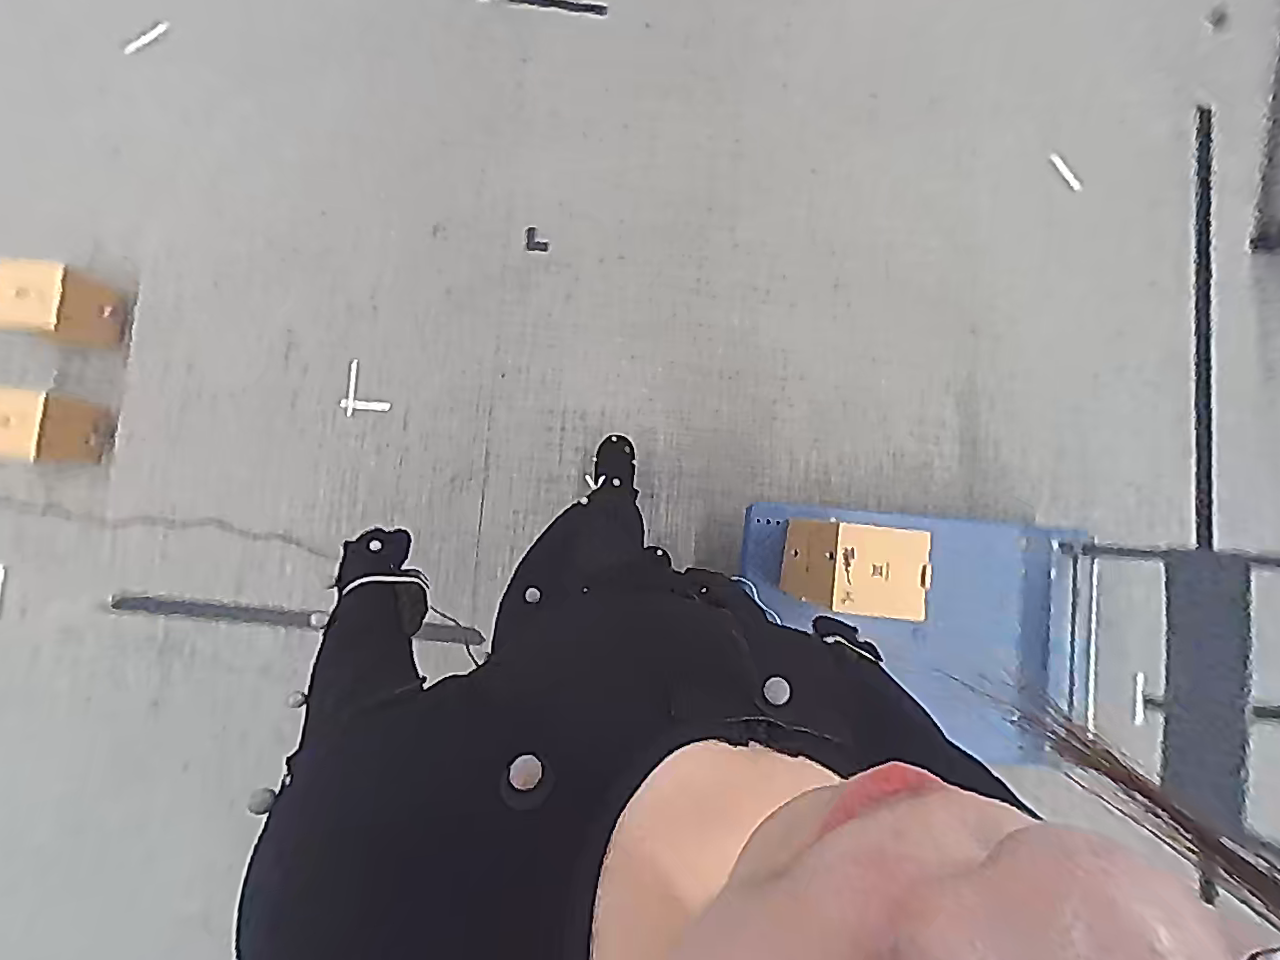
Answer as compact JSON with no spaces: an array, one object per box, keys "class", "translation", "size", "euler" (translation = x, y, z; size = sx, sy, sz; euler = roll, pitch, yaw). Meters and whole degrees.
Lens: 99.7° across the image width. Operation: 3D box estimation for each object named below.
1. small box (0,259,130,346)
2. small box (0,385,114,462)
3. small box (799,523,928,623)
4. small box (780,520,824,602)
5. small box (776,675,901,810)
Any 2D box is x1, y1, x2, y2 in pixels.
[{"class":"small box","translation":[-1.518,-0.462,1.424],"size":[0.179,0.176,0.168],"euler":[4,86,-1]},{"class":"small box","translation":[-1.545,-0.143,1.404],"size":[0.179,0.176,0.168],"euler":[7,87,-1]},{"class":"small box","translation":[0.438,0.177,1.080],"size":[0.179,0.176,0.168],"euler":[7,86,-2]},{"class":"small box","translation":[0.431,0.190,1.243],"size":[0.168,0.176,0.179],"euler":[10,86,-1]},{"class":"small box","translation":[0.380,0.502,1.062],"size":[0.168,0.176,0.179],"euler":[12,88,-1]}]
